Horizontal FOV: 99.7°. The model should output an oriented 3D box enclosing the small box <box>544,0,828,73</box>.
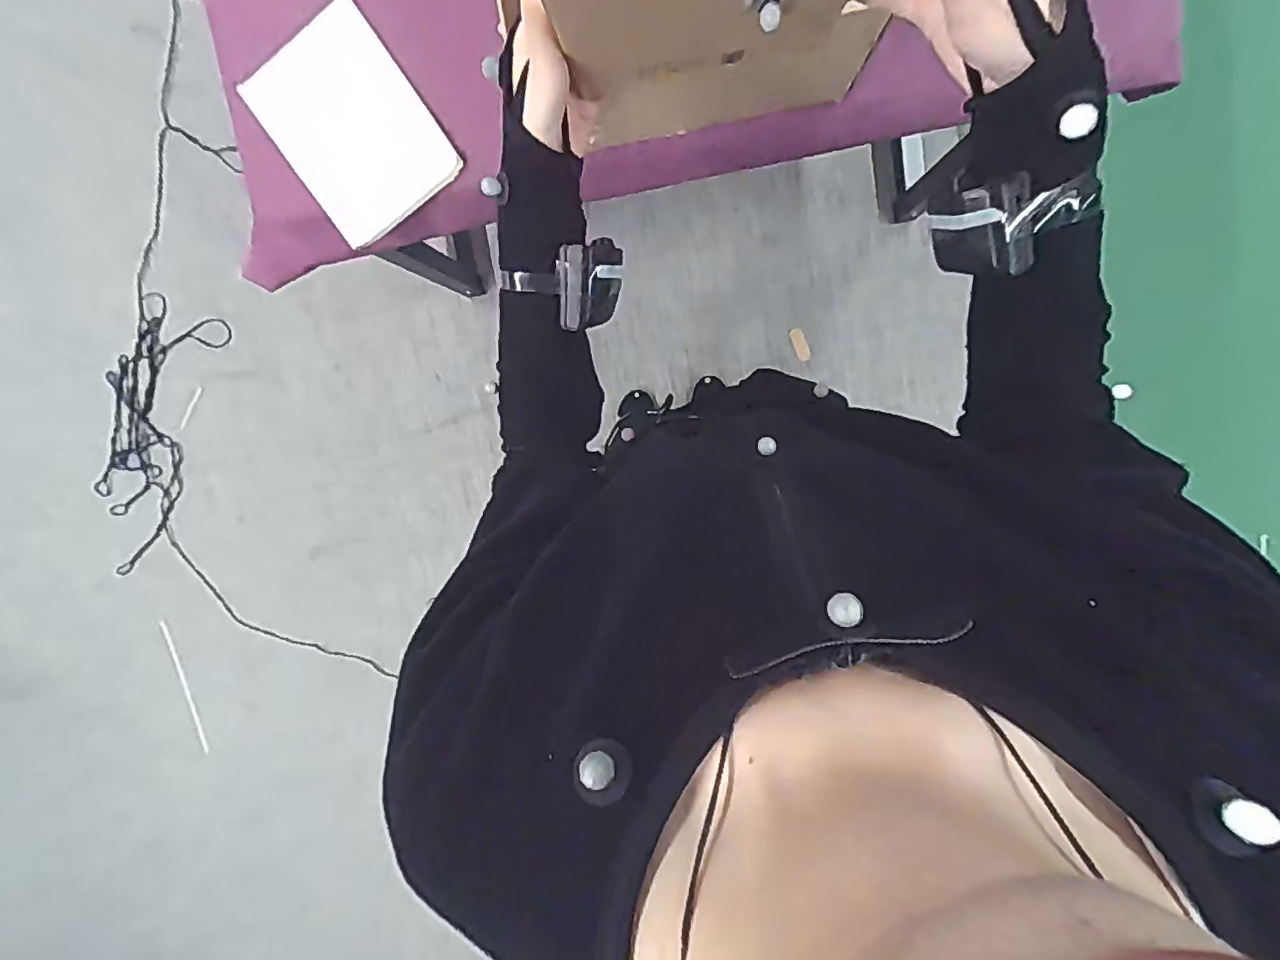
[{"bbox_3d":[0.022,-0.340,0.271,0.168,0.176,0.179,-6,104,4],"label":"small box"}]
